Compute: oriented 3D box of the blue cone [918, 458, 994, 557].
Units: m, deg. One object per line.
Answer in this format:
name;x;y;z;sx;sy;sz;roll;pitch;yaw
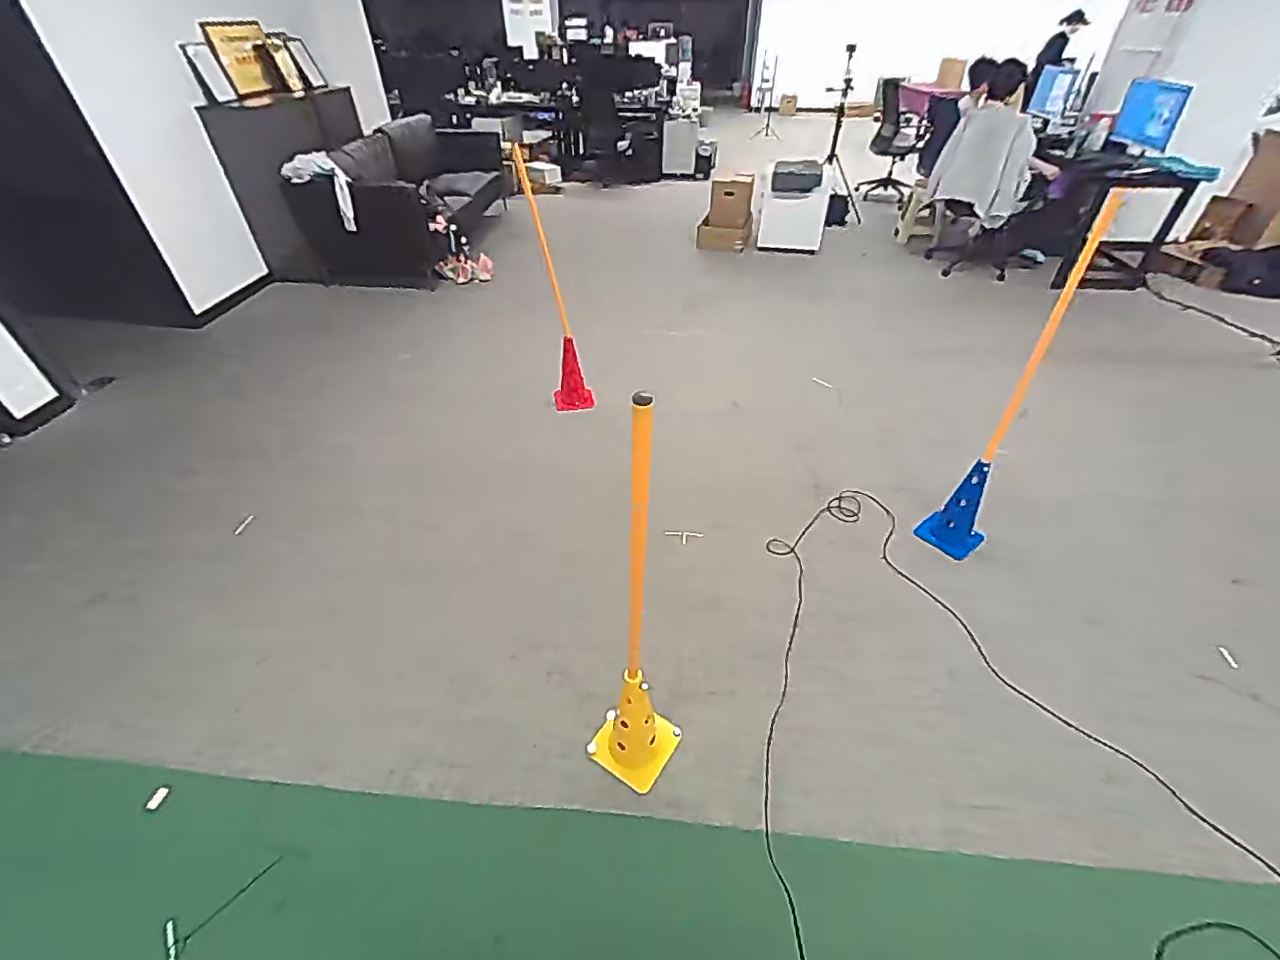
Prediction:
blue cone;1.191;0.078;1.977;0.193;0.380;0.192;-27;46;-31
